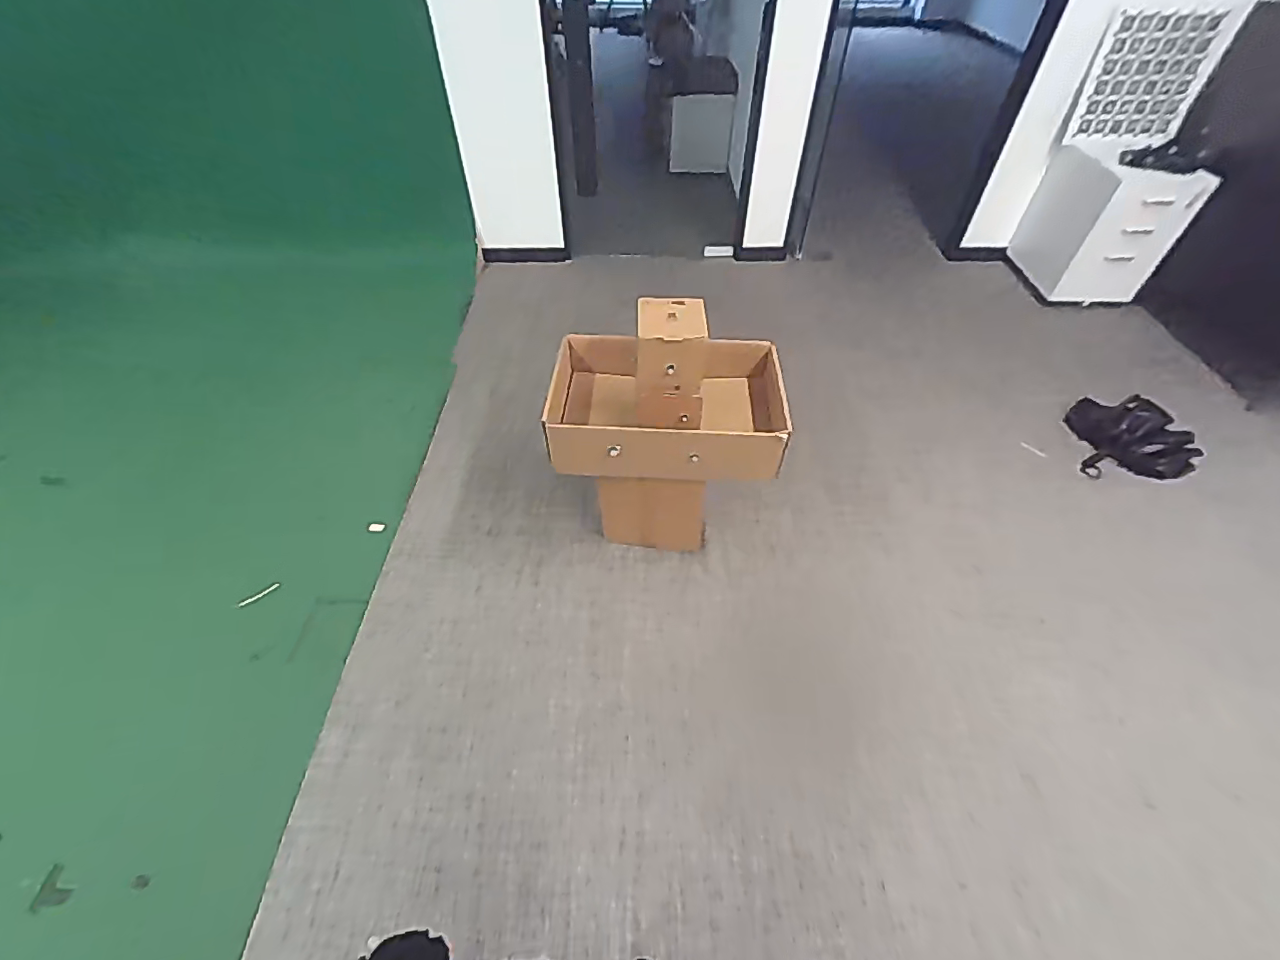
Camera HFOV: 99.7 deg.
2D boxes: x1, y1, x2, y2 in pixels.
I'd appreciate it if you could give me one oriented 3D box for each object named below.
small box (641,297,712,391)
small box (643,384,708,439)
[{"bbox_3d":[0.090,-0.339,1.364,0.168,0.176,0.179,2,49,0],"label":"small box"},{"bbox_3d":[0.094,-0.229,1.484,0.168,0.176,0.179,2,47,0],"label":"small box"}]
